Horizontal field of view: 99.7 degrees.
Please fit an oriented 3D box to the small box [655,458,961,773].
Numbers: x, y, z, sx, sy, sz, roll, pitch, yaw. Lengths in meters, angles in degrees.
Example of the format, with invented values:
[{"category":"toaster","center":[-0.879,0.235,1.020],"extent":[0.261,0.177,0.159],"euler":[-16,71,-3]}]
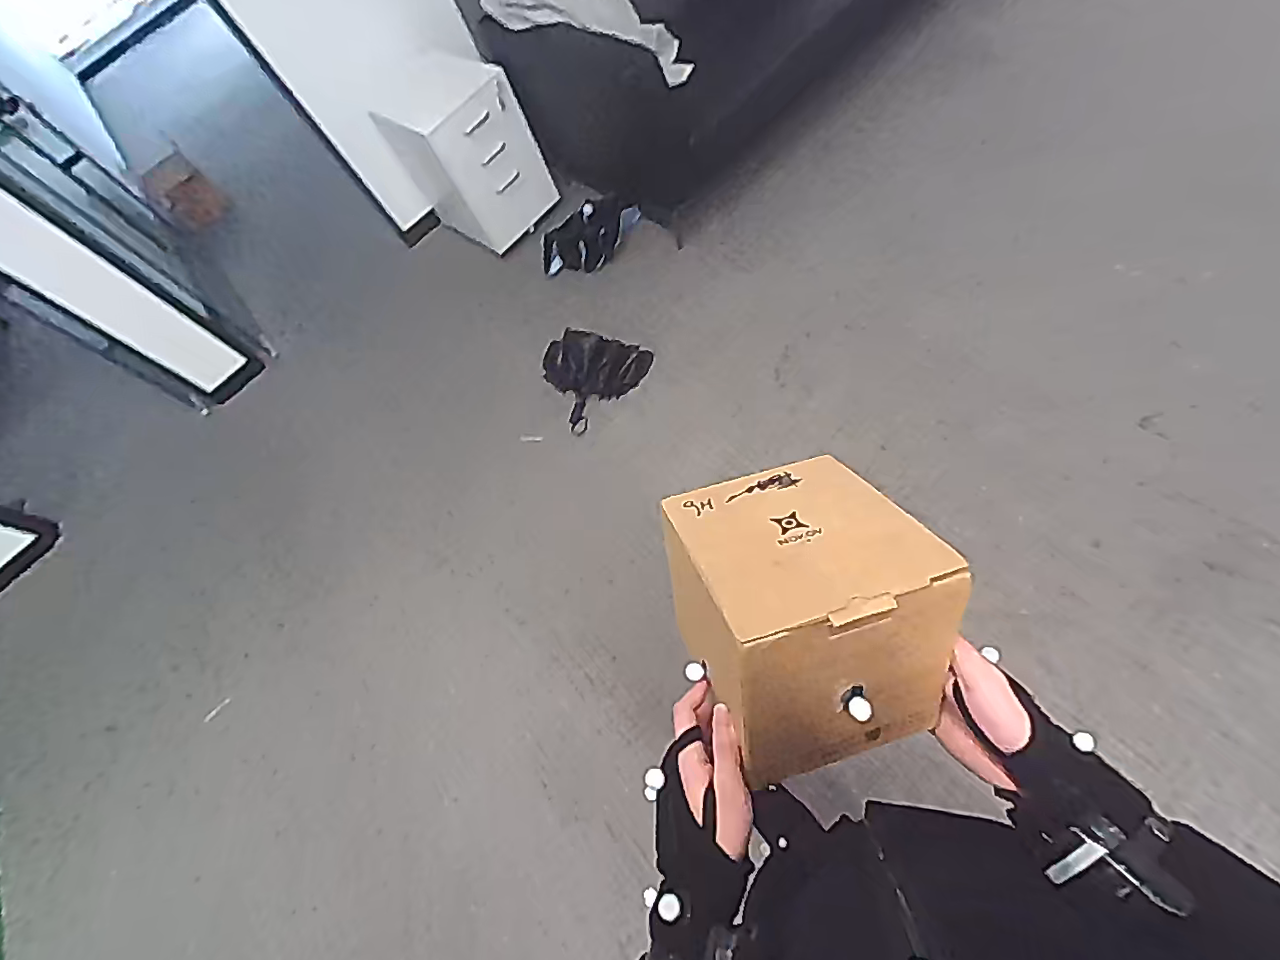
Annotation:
[{"category":"small box","center":[0.121,0.110,0.447],"extent":[0.168,0.176,0.179],"euler":[-14,33,-8]}]
